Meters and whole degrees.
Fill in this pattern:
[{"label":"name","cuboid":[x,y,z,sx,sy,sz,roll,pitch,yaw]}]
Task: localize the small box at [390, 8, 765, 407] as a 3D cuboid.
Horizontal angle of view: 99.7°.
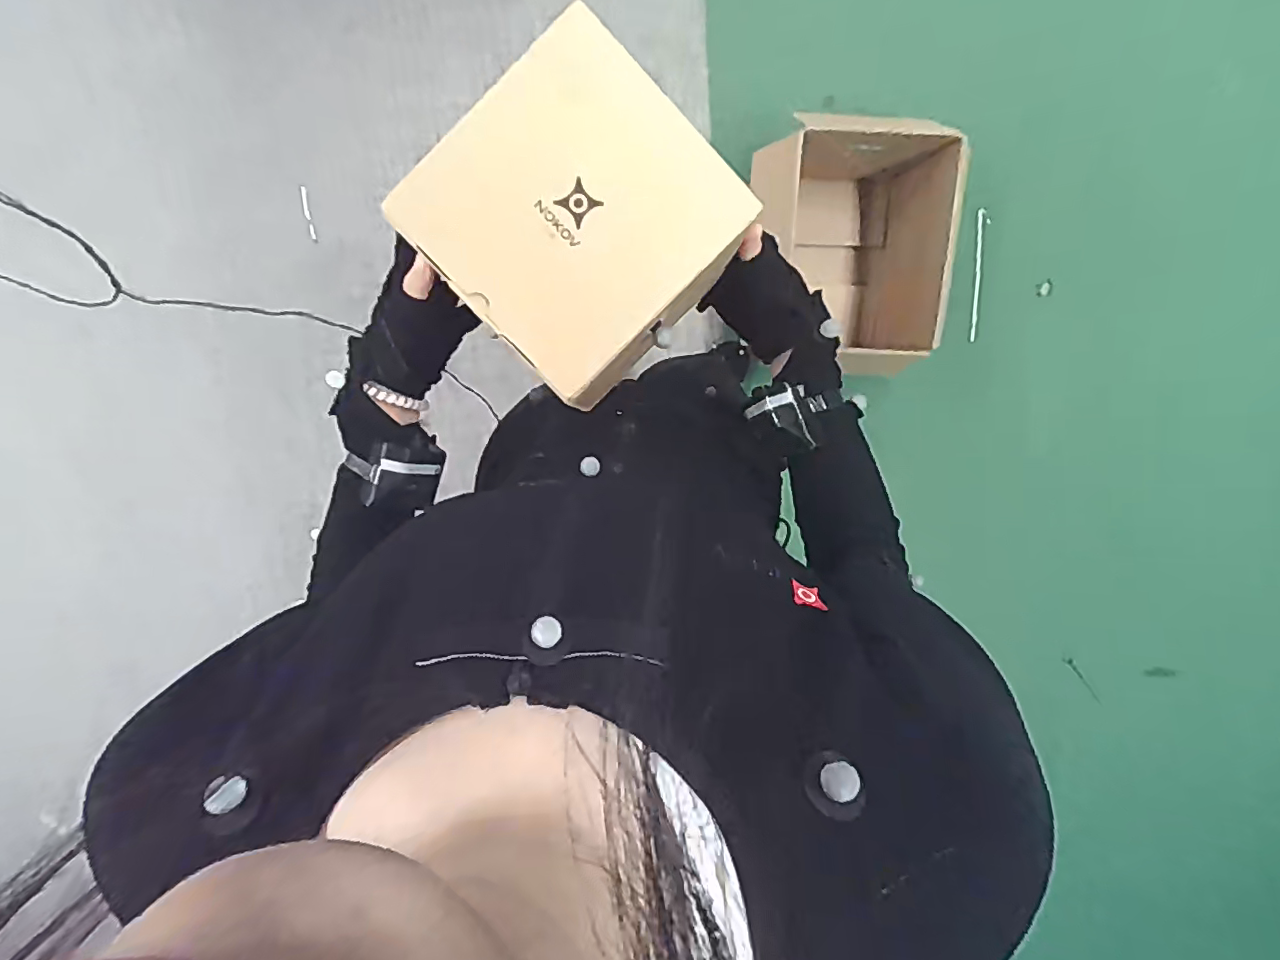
[{"label":"small box","cuboid":[-0.040,-0.173,0.411,0.168,0.176,0.179,44,94,-5]}]
